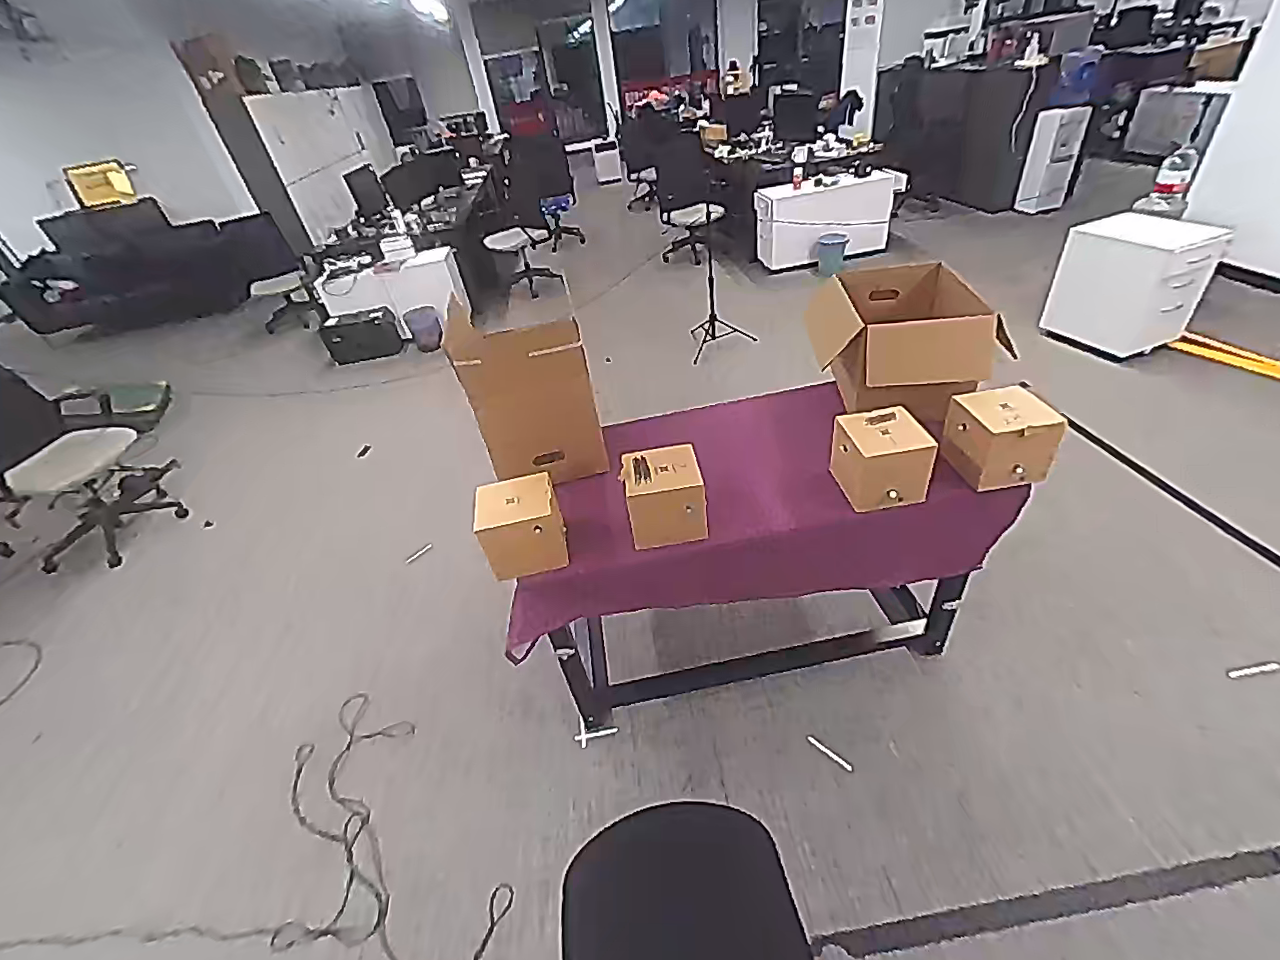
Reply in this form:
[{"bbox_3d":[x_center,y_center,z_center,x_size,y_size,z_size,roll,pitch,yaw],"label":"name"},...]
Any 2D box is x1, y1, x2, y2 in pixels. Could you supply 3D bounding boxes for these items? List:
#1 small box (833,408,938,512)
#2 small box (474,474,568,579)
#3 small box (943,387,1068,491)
[{"bbox_3d":[0.573,-0.047,1.290,0.168,0.176,0.179,-10,38,1],"label":"small box"},{"bbox_3d":[-0.277,0.112,1.282,0.179,0.176,0.168,-12,37,-4],"label":"small box"},{"bbox_3d":[0.853,-0.097,1.286,0.168,0.176,0.179,-10,37,2],"label":"small box"}]
